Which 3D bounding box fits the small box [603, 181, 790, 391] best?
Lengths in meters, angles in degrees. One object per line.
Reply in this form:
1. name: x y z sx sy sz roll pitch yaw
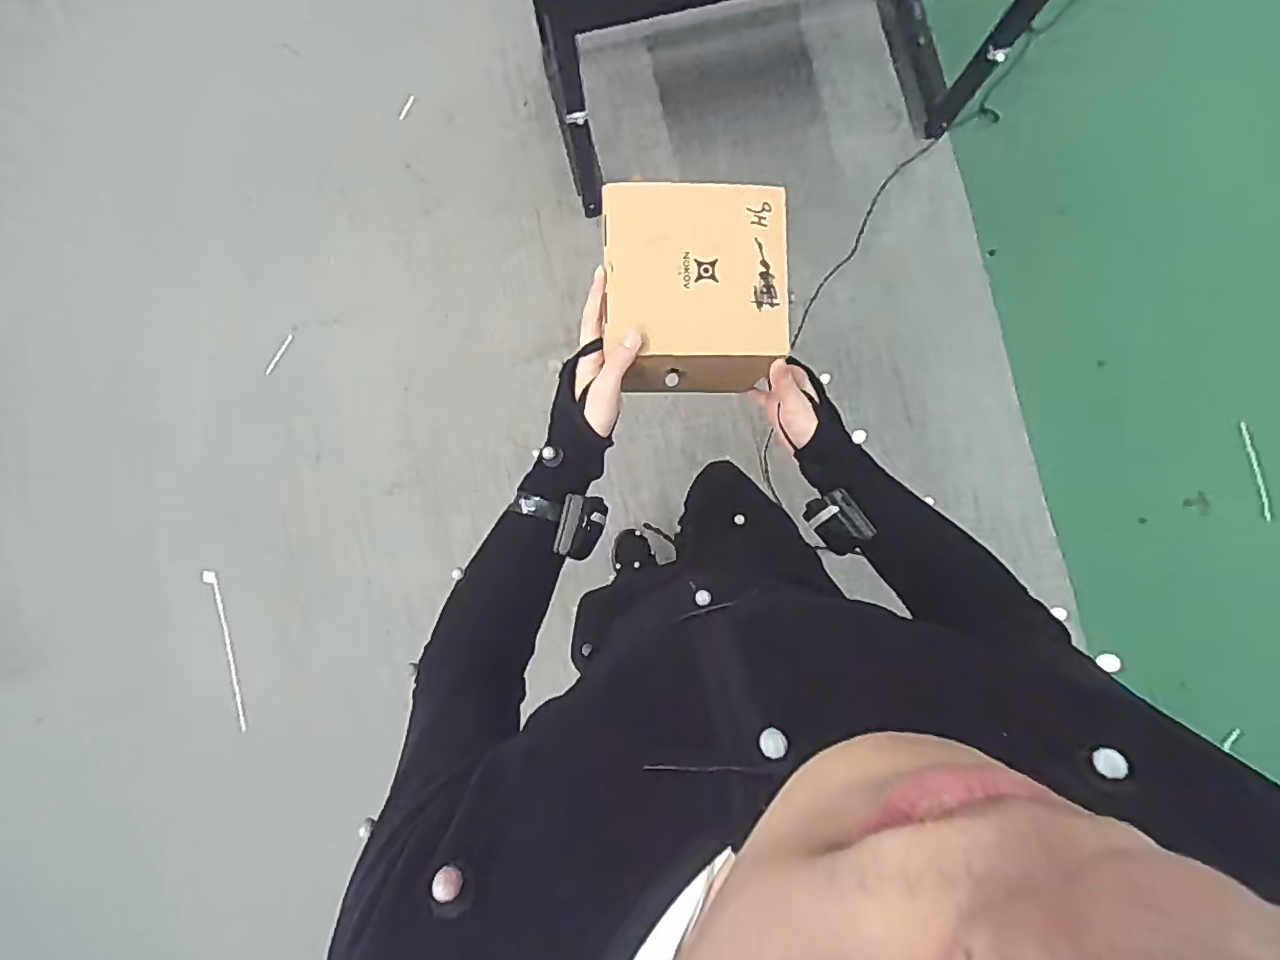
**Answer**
1. small box: 0.051 -0.194 0.586 0.179 0.176 0.168 1 88 -3
